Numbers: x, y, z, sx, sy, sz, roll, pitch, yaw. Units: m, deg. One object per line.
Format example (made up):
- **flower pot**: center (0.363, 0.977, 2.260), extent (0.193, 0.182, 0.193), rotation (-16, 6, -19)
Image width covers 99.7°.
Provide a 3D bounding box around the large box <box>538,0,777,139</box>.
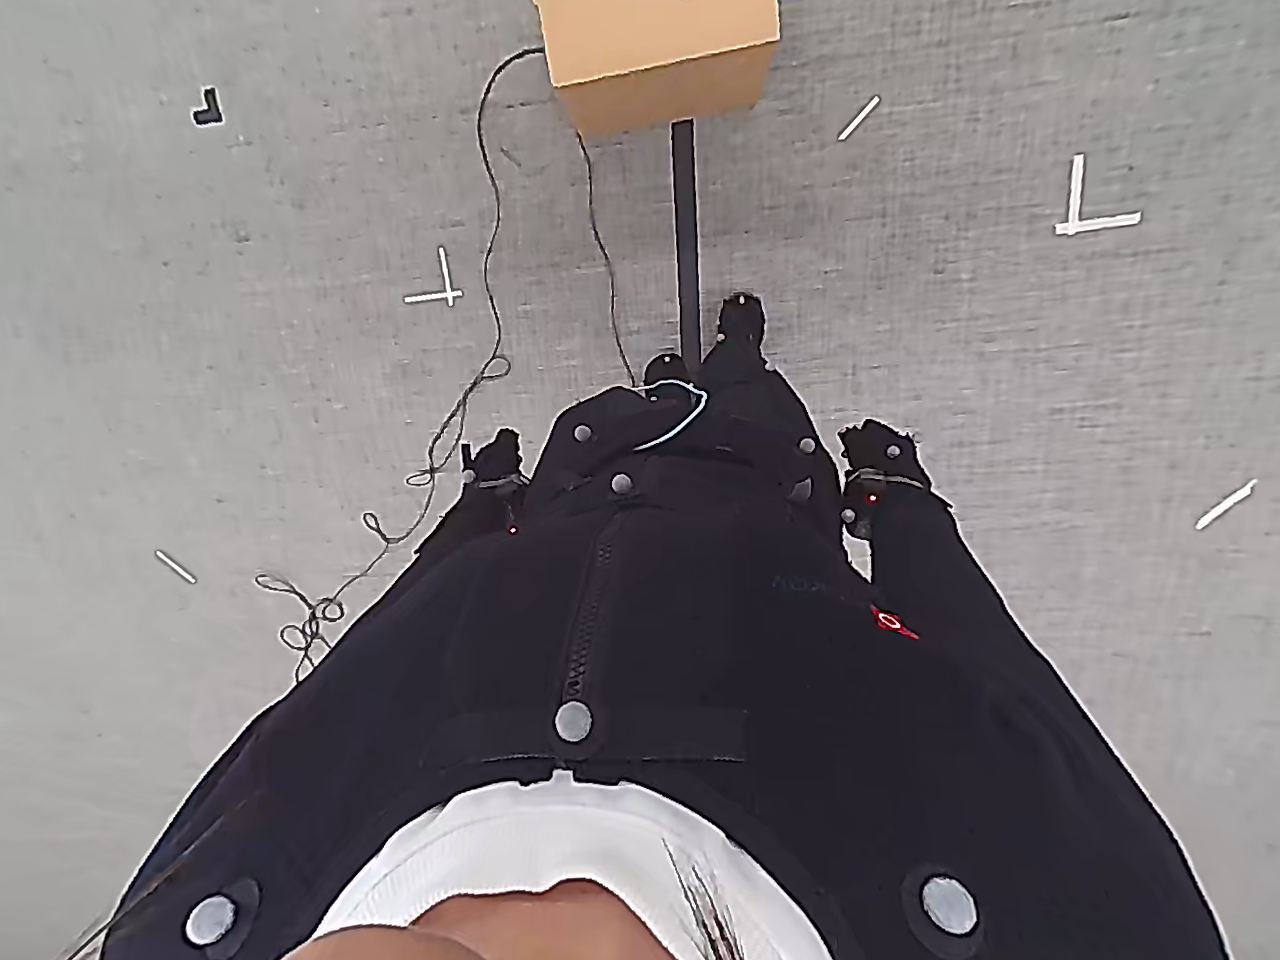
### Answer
- **large box**: center (0.024, -0.911, 1.042), extent (0.408, 0.320, 0.320), rotation (-7, 107, 6)
